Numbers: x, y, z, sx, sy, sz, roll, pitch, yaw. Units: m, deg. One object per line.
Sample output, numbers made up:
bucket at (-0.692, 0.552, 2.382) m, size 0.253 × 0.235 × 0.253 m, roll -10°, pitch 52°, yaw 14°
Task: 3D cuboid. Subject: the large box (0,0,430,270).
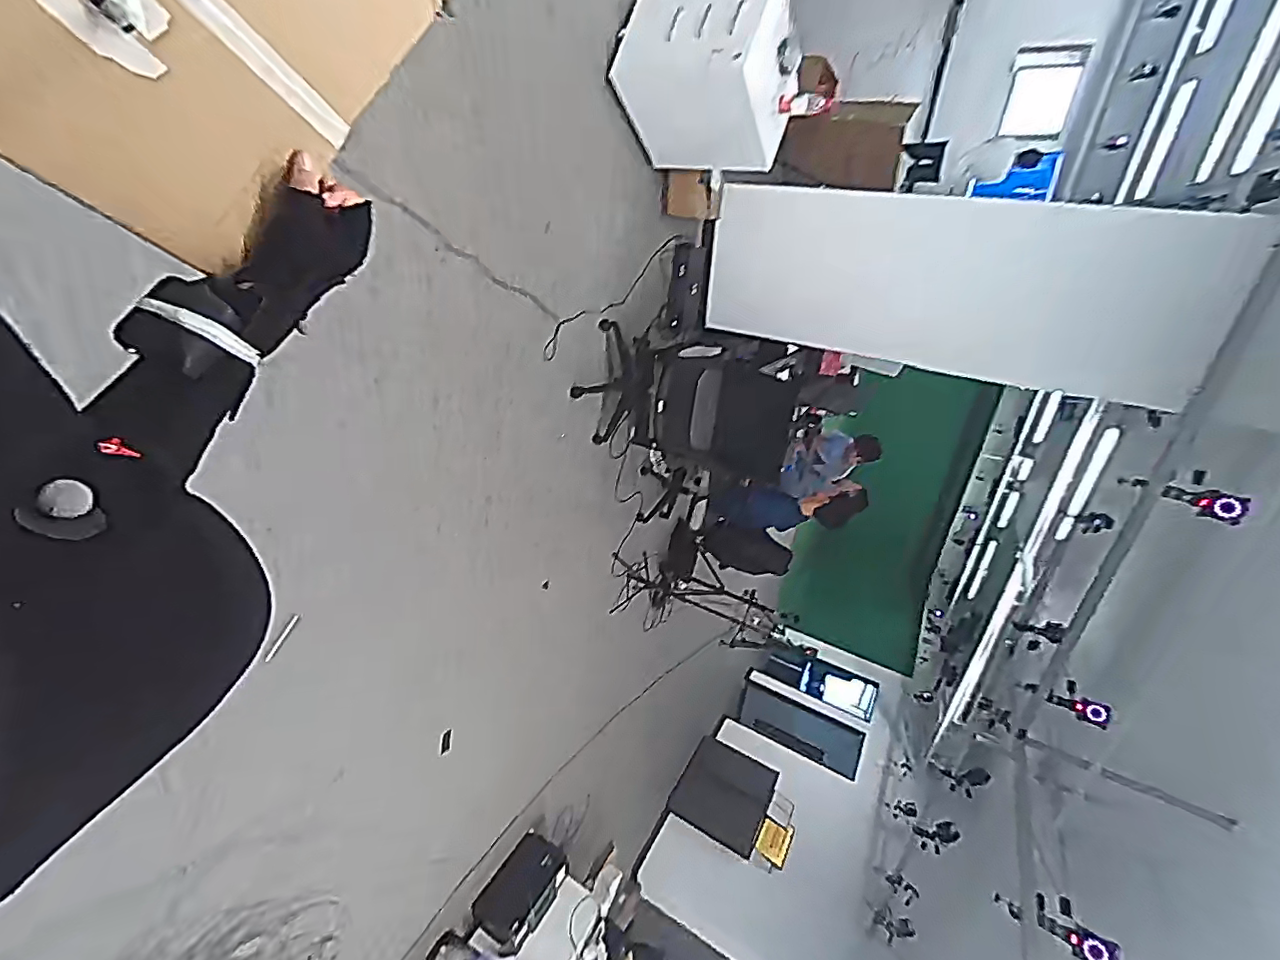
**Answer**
large box at (-0.444, -0.426, 0.357) m, size 0.320 × 0.320 × 0.408 m, roll -55°, pitch 152°, yaw -1°
